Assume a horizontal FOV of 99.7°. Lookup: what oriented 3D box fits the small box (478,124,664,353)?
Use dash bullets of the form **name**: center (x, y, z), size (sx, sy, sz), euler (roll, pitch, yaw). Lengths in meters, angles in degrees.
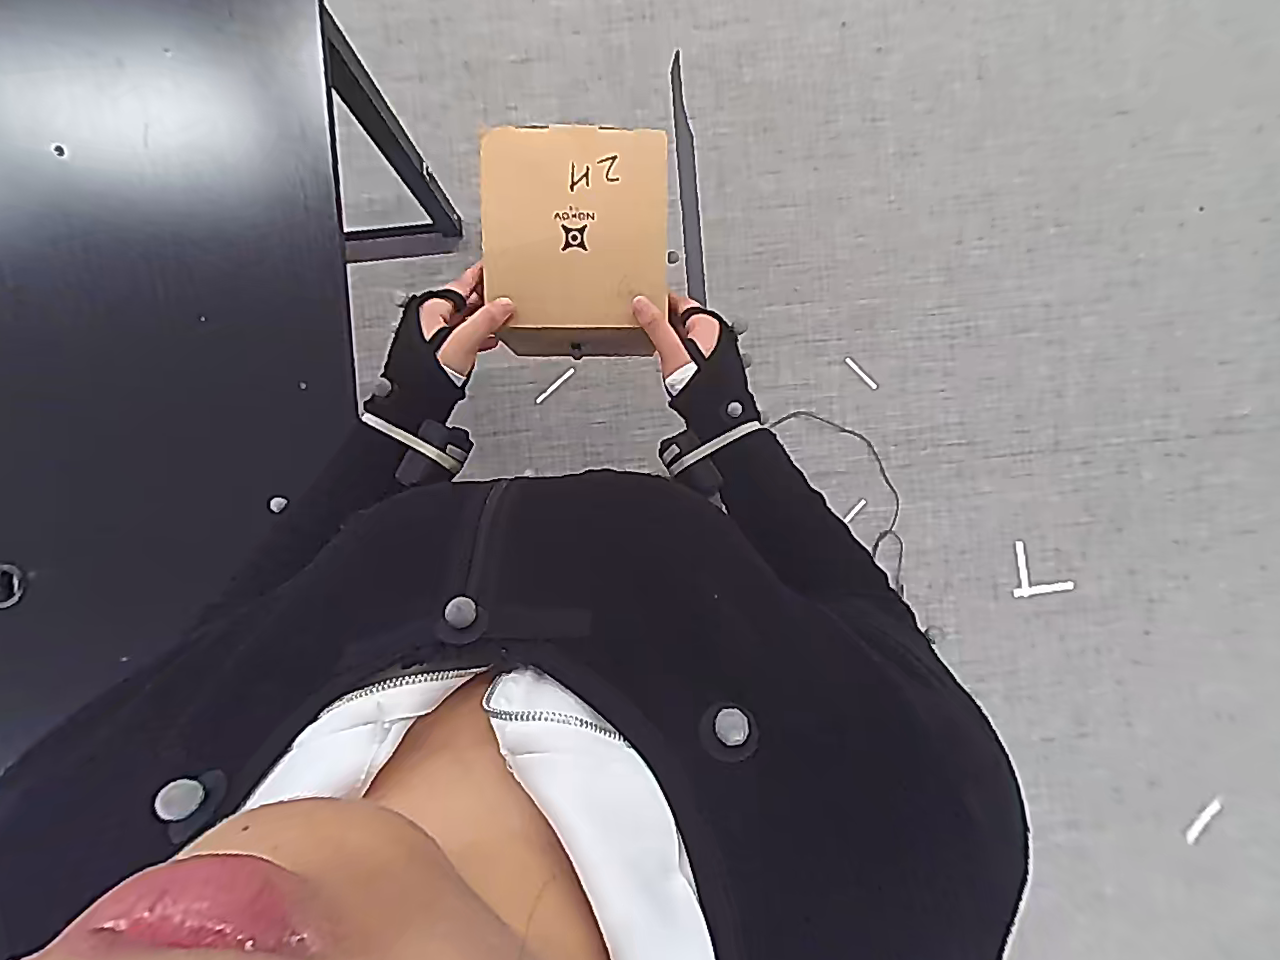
- **small box**: center (-0.061, -0.229, 0.557), size (0.168, 0.176, 0.179), euler (-1, 93, -2)
